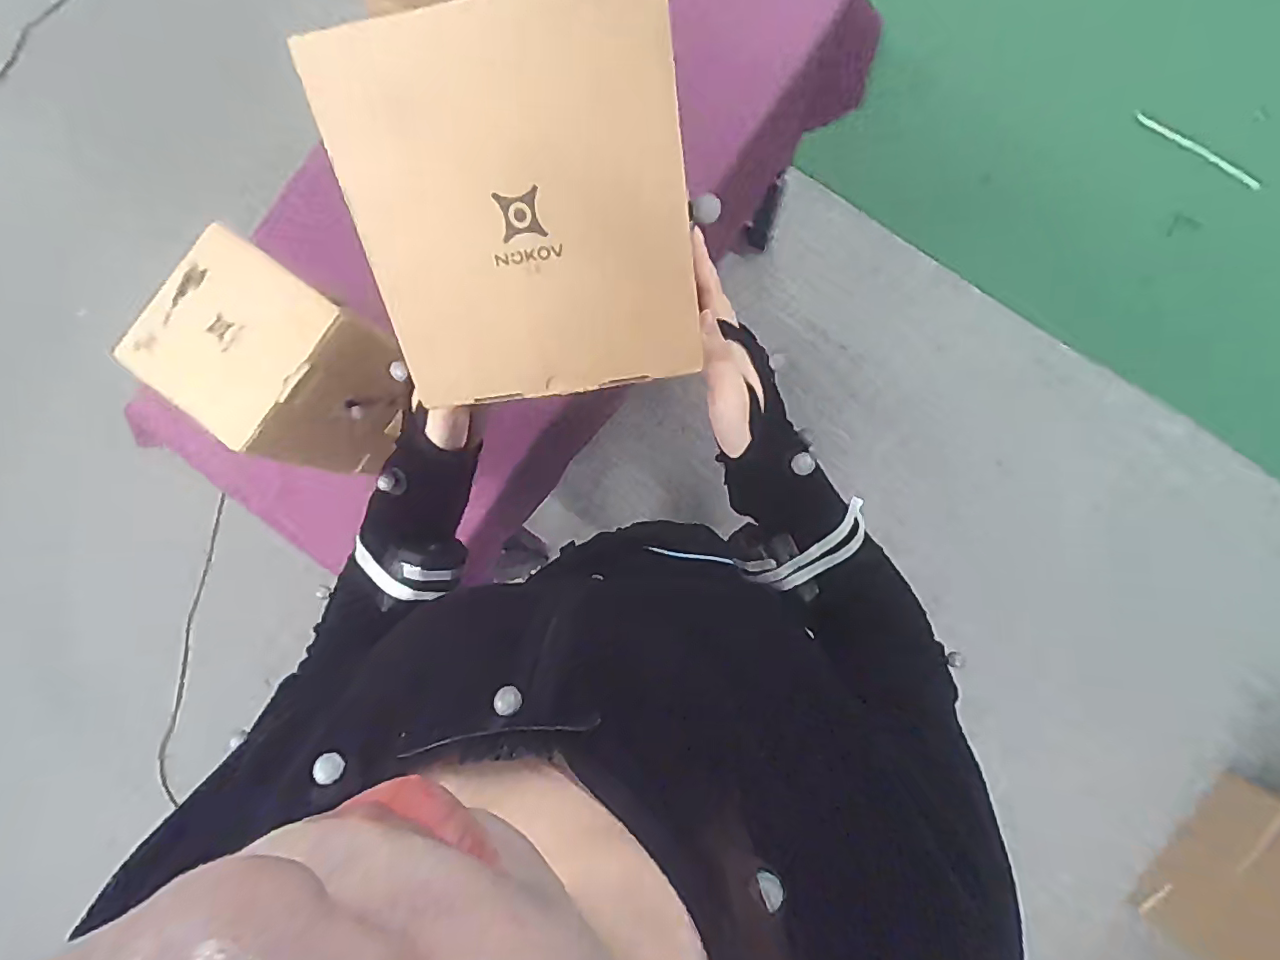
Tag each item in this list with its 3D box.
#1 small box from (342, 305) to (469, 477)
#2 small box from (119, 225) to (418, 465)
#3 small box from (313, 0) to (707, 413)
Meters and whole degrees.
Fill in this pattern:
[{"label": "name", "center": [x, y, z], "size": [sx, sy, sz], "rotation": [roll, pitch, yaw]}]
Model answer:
[{"label": "small box", "center": [-0.365, -0.116, 0.757], "size": [0.179, 0.176, 0.168], "rotation": [33, 88, 9]}, {"label": "small box", "center": [-0.383, -0.130, 0.595], "size": [0.179, 0.176, 0.168], "rotation": [35, 88, 7]}, {"label": "small box", "center": [-0.050, -0.161, 0.339], "size": [0.168, 0.176, 0.179], "rotation": [-6, 121, 6]}]
